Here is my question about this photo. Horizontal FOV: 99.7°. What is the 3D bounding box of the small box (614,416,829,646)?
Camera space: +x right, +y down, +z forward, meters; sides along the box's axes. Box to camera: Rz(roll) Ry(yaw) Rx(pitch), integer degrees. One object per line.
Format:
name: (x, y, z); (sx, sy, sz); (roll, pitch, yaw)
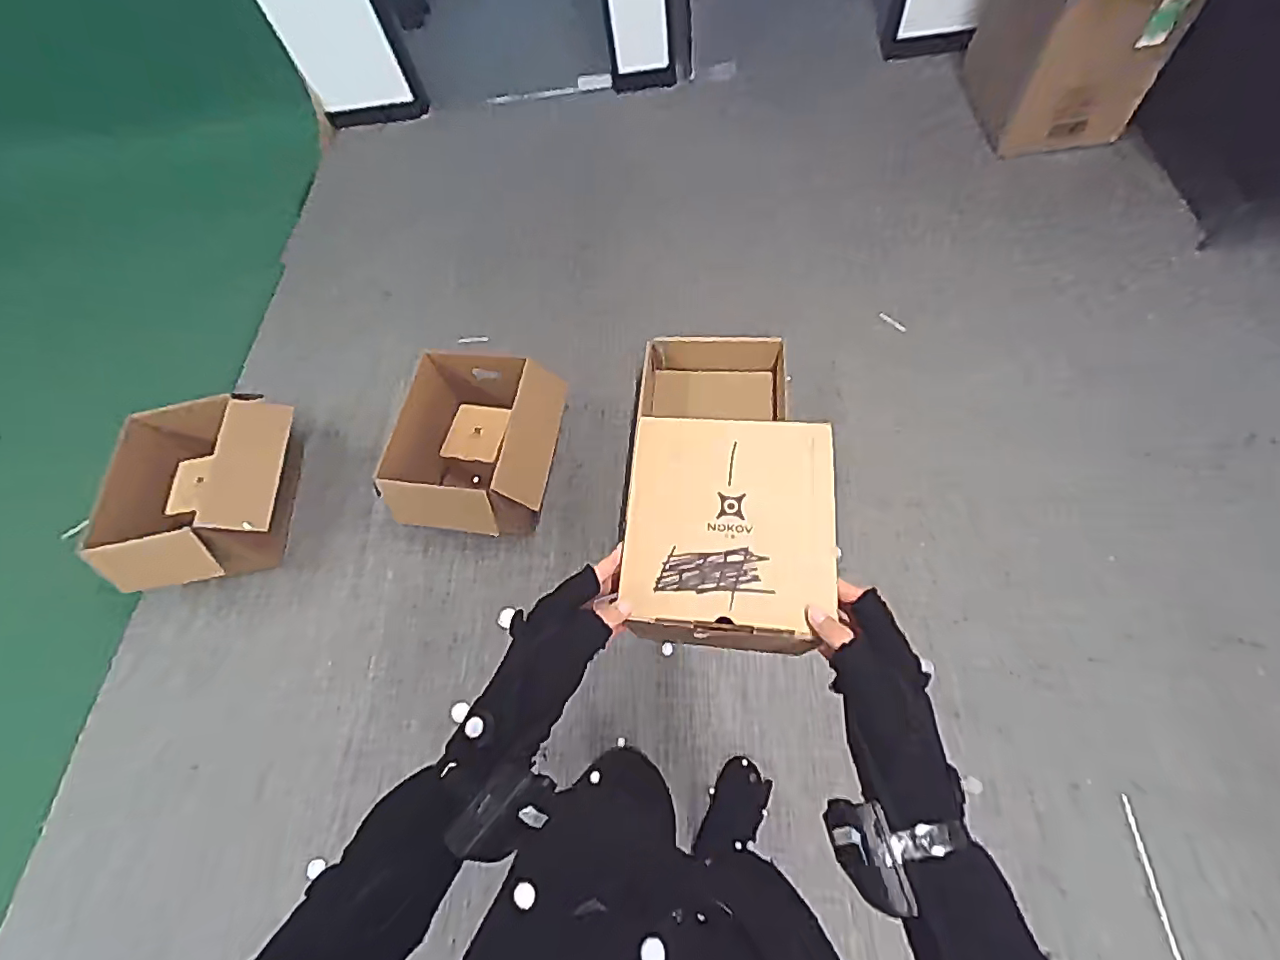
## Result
small box: (0.078, 0.057, 0.512); (0.168, 0.176, 0.179); (2, 67, 8)
